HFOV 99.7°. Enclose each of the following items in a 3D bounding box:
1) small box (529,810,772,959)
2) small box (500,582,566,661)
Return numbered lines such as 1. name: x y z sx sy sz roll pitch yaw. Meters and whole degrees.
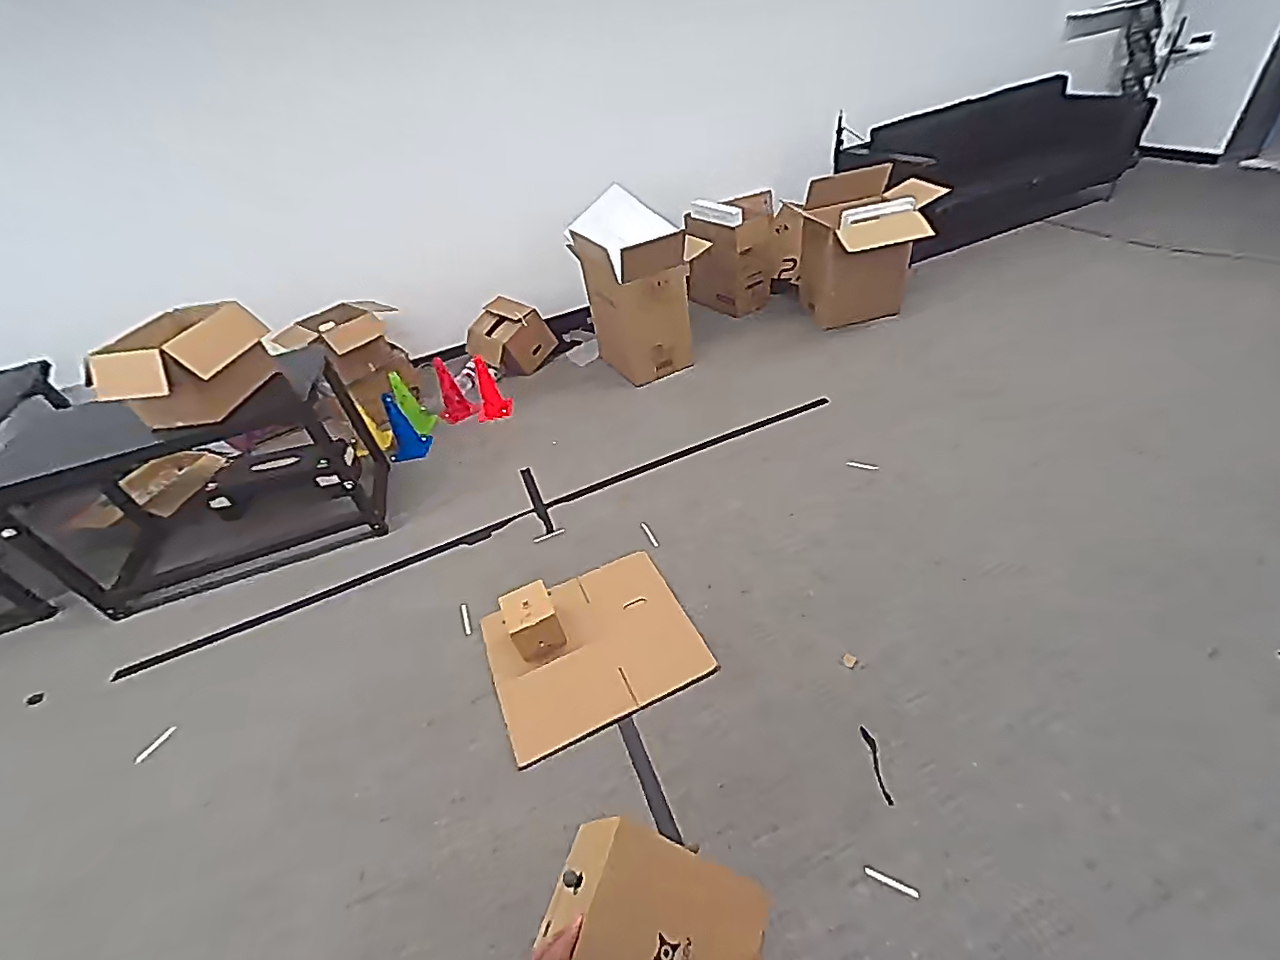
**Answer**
1. small box: 0.002 0.467 0.547 0.179 0.176 0.168 29 51 -2
2. small box: -0.378 0.502 1.912 0.168 0.176 0.179 -23 41 -13
